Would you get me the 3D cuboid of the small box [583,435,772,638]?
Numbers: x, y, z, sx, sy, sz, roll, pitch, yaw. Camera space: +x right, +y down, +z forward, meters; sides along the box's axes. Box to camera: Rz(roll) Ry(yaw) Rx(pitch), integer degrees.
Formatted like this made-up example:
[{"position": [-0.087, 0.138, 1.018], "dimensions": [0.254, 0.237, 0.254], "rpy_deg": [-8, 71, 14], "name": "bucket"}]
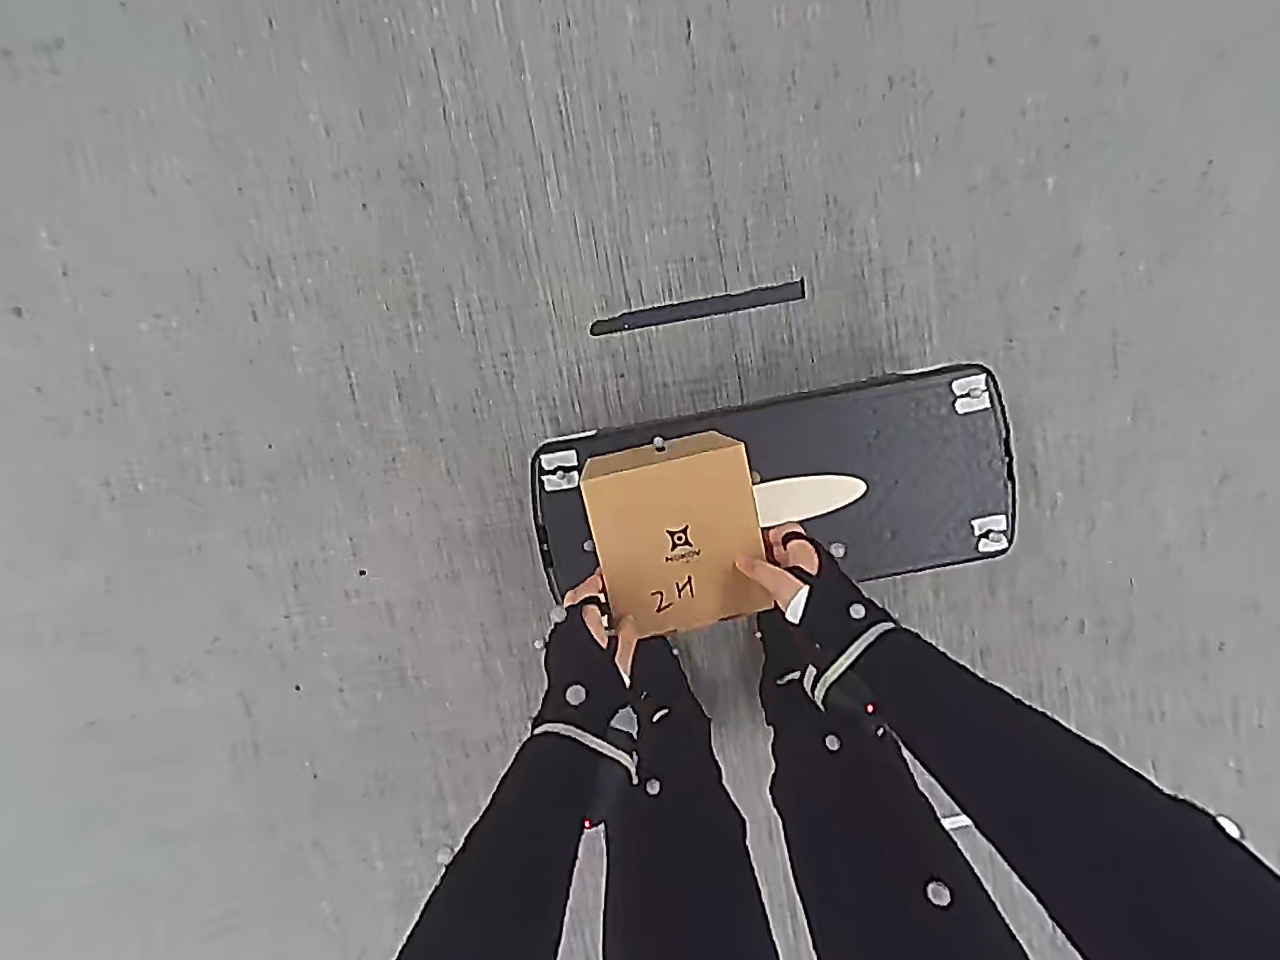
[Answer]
[{"position": [0.034, 0.049, 0.616], "dimensions": [0.168, 0.176, 0.179], "rpy_deg": [-13, 100, 0], "name": "small box"}]
